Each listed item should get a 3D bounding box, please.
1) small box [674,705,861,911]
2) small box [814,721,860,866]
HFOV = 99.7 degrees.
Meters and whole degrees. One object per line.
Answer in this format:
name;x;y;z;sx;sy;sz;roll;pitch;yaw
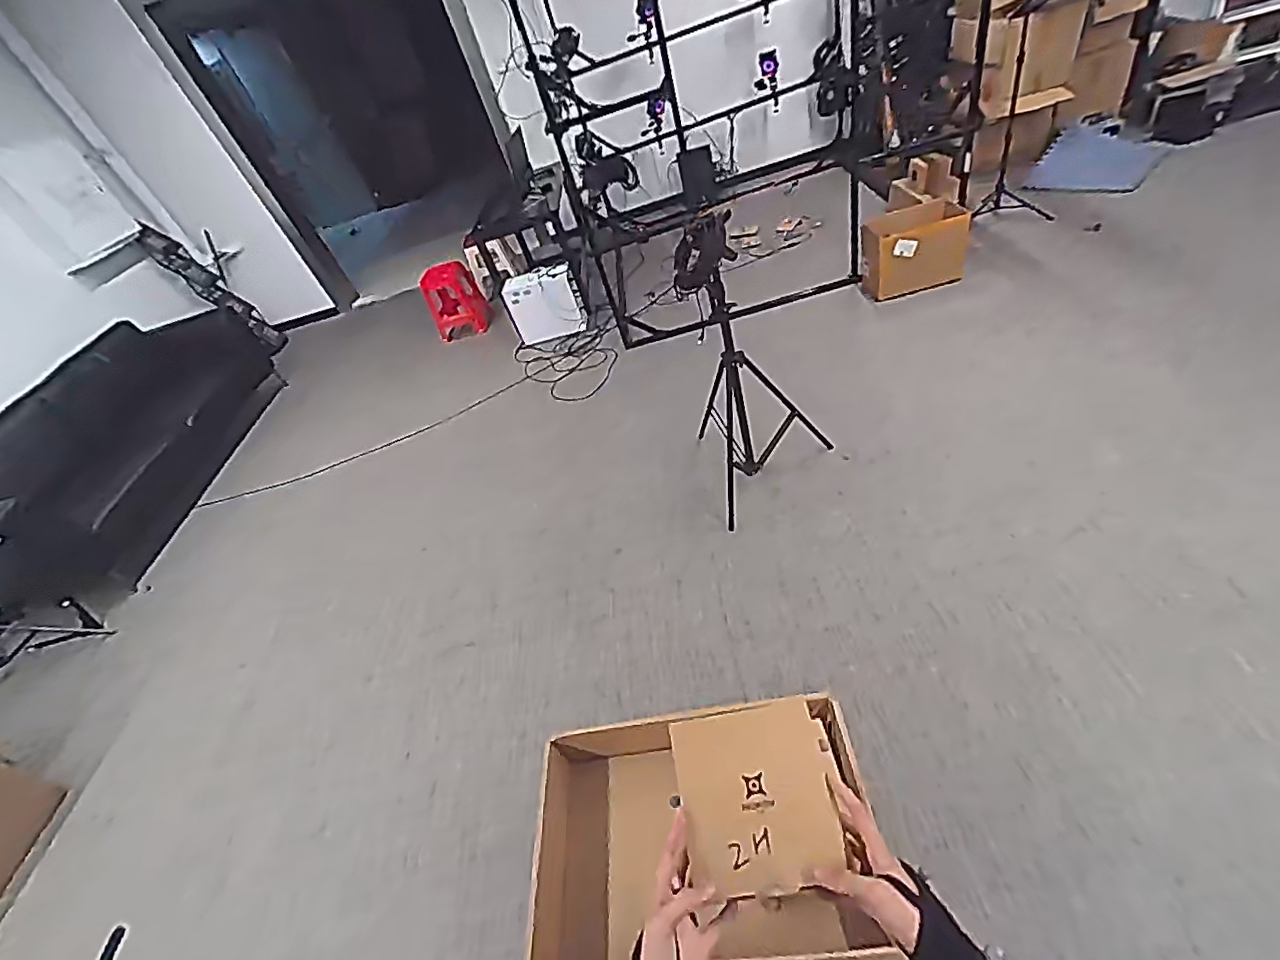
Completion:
small box;0.139;0.391;0.647;0.168;0.176;0.179;-12;54;3
small box;0.240;0.517;0.862;0.168;0.176;0.179;-14;42;6
